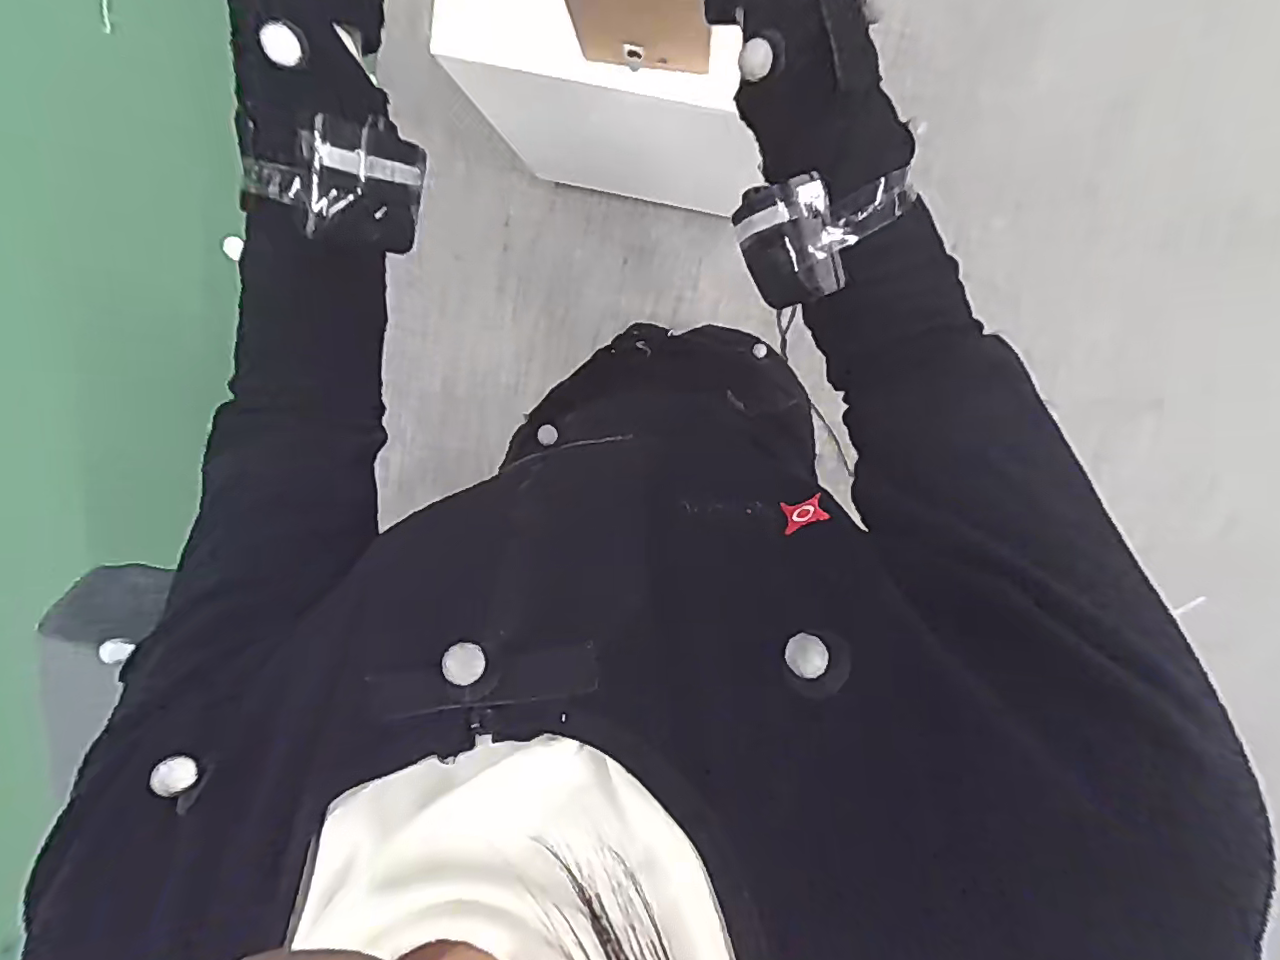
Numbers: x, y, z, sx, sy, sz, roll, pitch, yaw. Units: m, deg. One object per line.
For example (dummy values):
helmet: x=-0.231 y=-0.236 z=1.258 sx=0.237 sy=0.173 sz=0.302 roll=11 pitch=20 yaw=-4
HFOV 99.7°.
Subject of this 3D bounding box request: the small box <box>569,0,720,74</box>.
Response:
small box: x=0.010 y=-0.593 z=0.594 sx=0.168 sy=0.176 sz=0.179 roll=8 pitch=105 yaw=5
